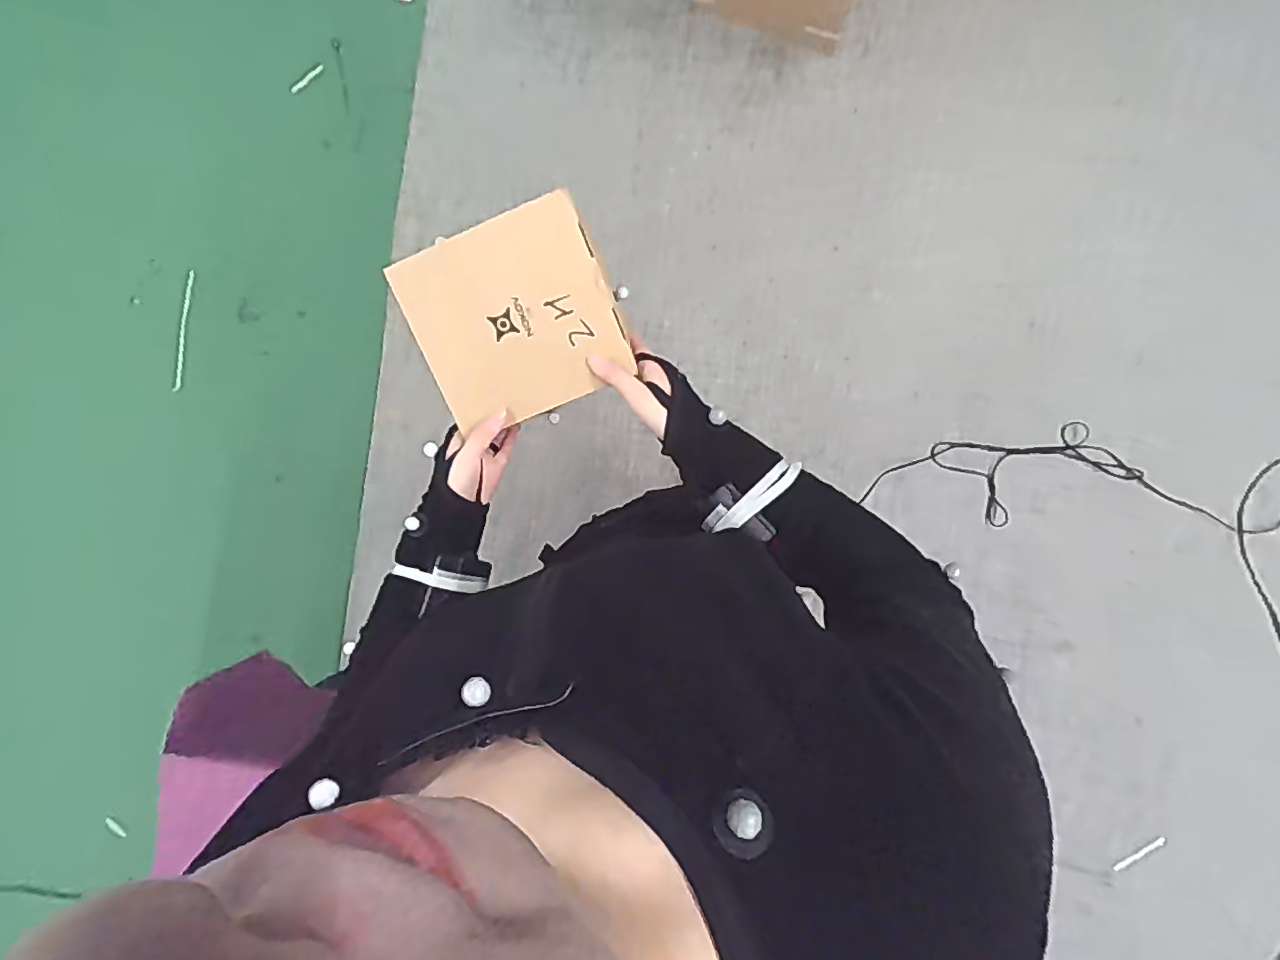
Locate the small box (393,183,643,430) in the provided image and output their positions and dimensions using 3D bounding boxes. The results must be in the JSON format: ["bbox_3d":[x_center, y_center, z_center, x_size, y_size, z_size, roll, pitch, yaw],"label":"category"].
[{"bbox_3d":[-0.105,-0.164,0.553,0.179,0.176,0.168,-20,103,7],"label":"small box"}]
